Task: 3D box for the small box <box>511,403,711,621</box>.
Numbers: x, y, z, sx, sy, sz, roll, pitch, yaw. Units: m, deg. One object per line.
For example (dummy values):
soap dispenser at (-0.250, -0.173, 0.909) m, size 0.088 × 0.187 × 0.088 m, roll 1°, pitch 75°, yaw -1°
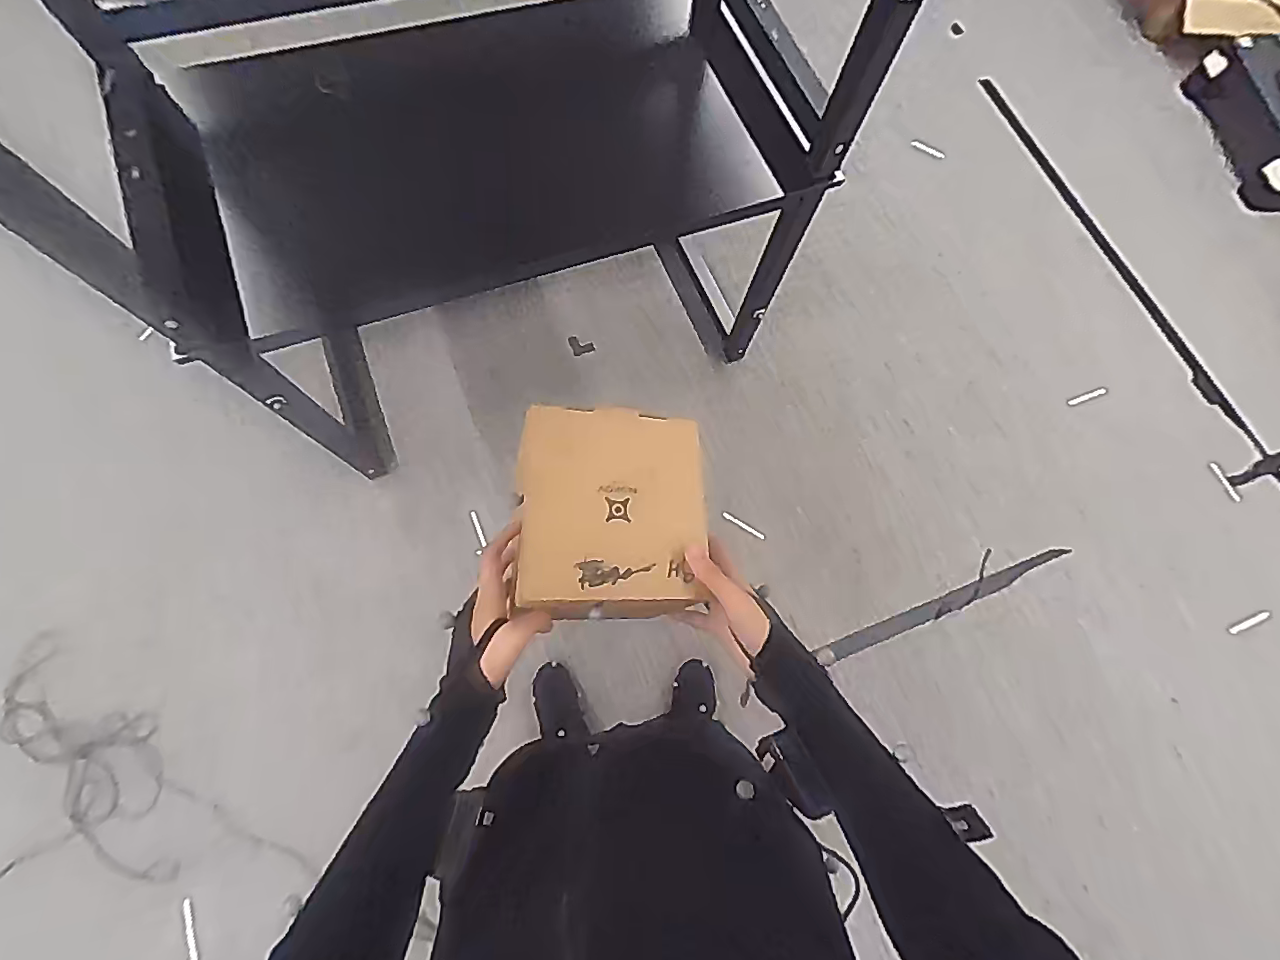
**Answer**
small box at (-0.040, 0.044, 0.552) m, size 0.168 × 0.176 × 0.179 m, roll 4°, pitch 69°, yaw -16°
